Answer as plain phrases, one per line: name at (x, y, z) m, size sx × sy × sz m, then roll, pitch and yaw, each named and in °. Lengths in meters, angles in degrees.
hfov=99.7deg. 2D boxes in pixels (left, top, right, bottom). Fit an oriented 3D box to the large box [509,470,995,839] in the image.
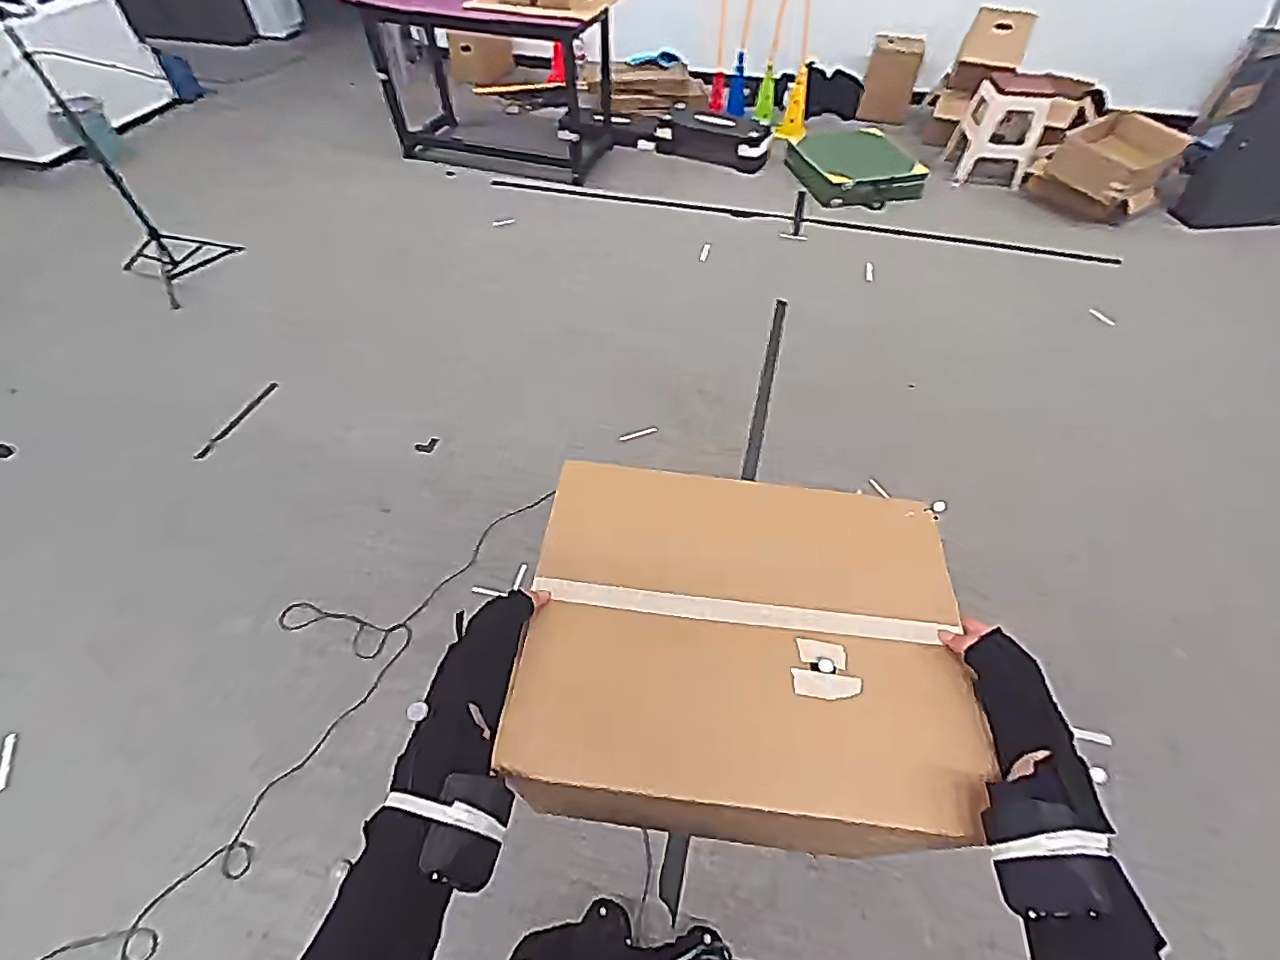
large box at (0.091, 0.216, 0.639) m, size 0.408 × 0.320 × 0.320 m, roll 6°, pitch 54°, yaw 1°
